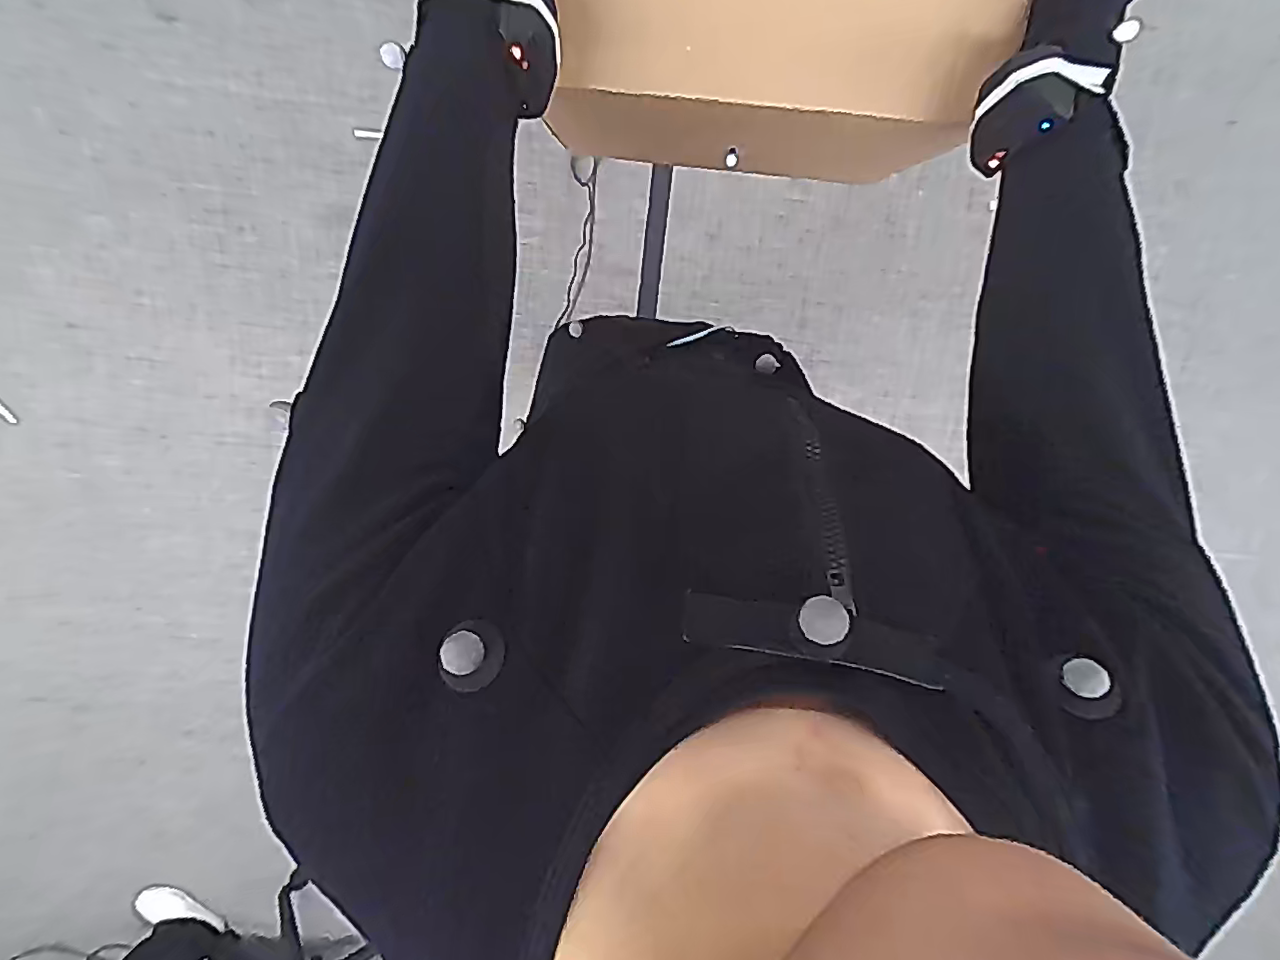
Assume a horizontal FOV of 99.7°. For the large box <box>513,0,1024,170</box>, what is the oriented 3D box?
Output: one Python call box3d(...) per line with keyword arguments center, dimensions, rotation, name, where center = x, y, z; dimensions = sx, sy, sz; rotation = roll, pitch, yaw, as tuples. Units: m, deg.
box3d(center=(0.115, -0.513, 0.528), dimensions=(0.408, 0.320, 0.320), rotation=(7, 111, 1), name="large box")
